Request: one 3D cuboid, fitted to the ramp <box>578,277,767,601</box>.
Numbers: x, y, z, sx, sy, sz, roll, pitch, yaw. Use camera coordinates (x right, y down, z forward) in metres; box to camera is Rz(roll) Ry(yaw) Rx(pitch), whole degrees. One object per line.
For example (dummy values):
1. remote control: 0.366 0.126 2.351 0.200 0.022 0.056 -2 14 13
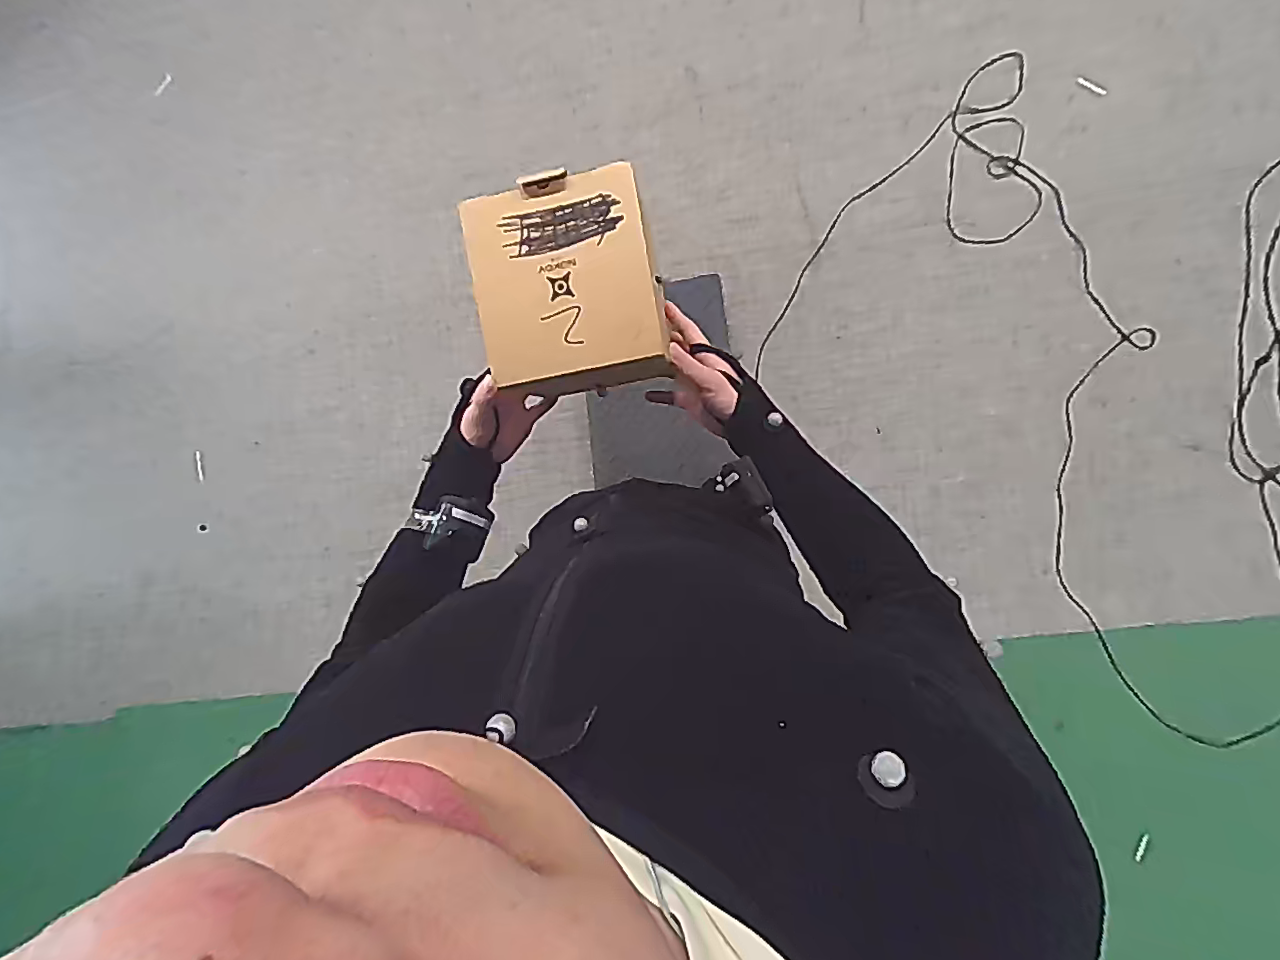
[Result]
1. ramp: 0.081 -0.145 1.712 0.509 0.206 0.991 -10 89 8
